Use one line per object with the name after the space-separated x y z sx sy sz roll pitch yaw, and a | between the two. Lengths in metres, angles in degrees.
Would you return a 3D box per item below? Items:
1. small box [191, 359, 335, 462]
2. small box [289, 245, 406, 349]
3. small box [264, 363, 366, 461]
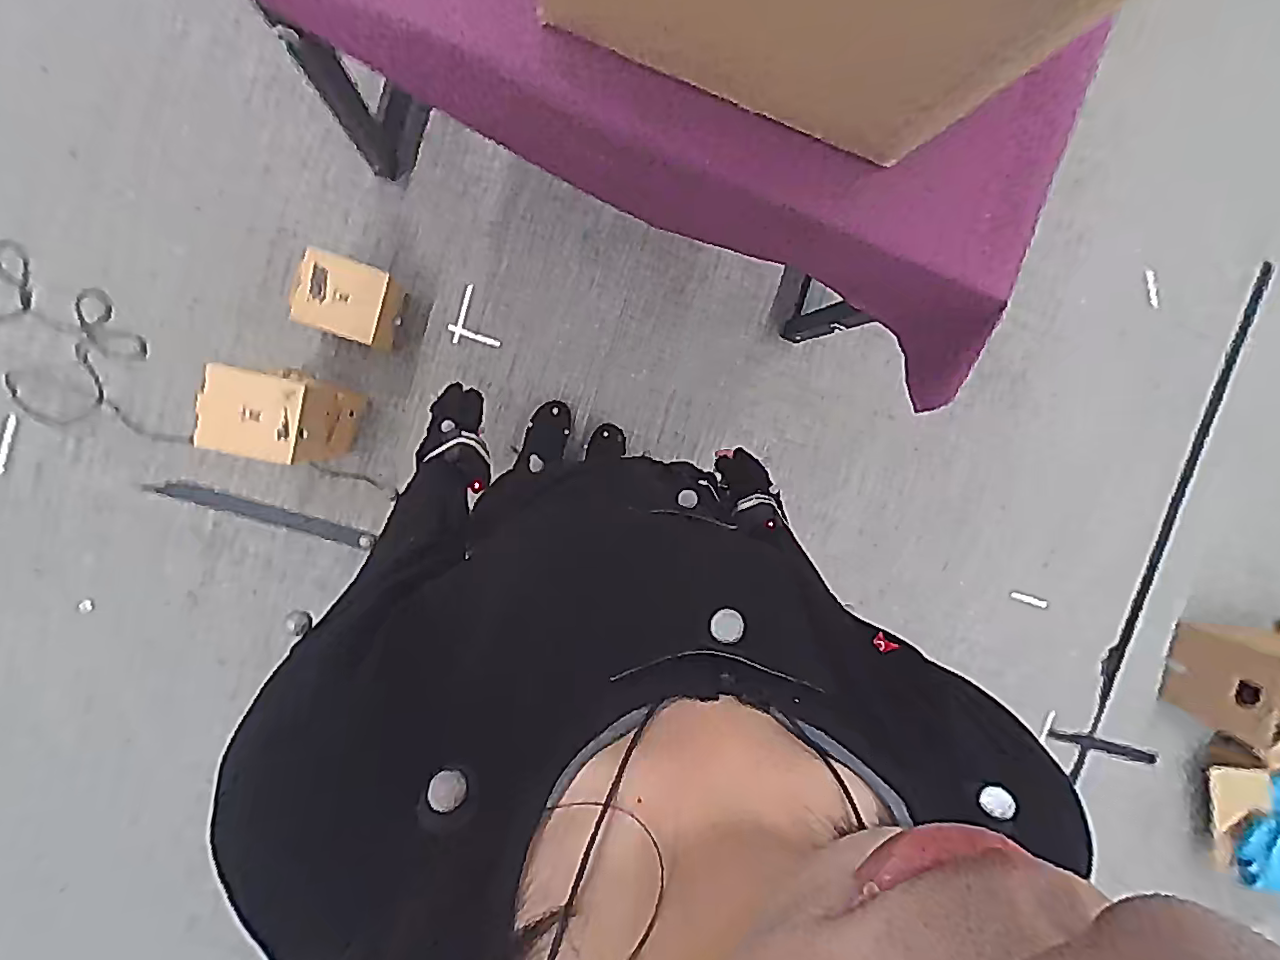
-0.764 -0.138 1.113 0.179 0.176 0.168 13 94 -12 | small box
-0.672 -0.416 1.262 0.179 0.176 0.168 16 94 -13 | small box
-0.781 -0.159 1.275 0.179 0.176 0.168 23 91 -11 | small box
